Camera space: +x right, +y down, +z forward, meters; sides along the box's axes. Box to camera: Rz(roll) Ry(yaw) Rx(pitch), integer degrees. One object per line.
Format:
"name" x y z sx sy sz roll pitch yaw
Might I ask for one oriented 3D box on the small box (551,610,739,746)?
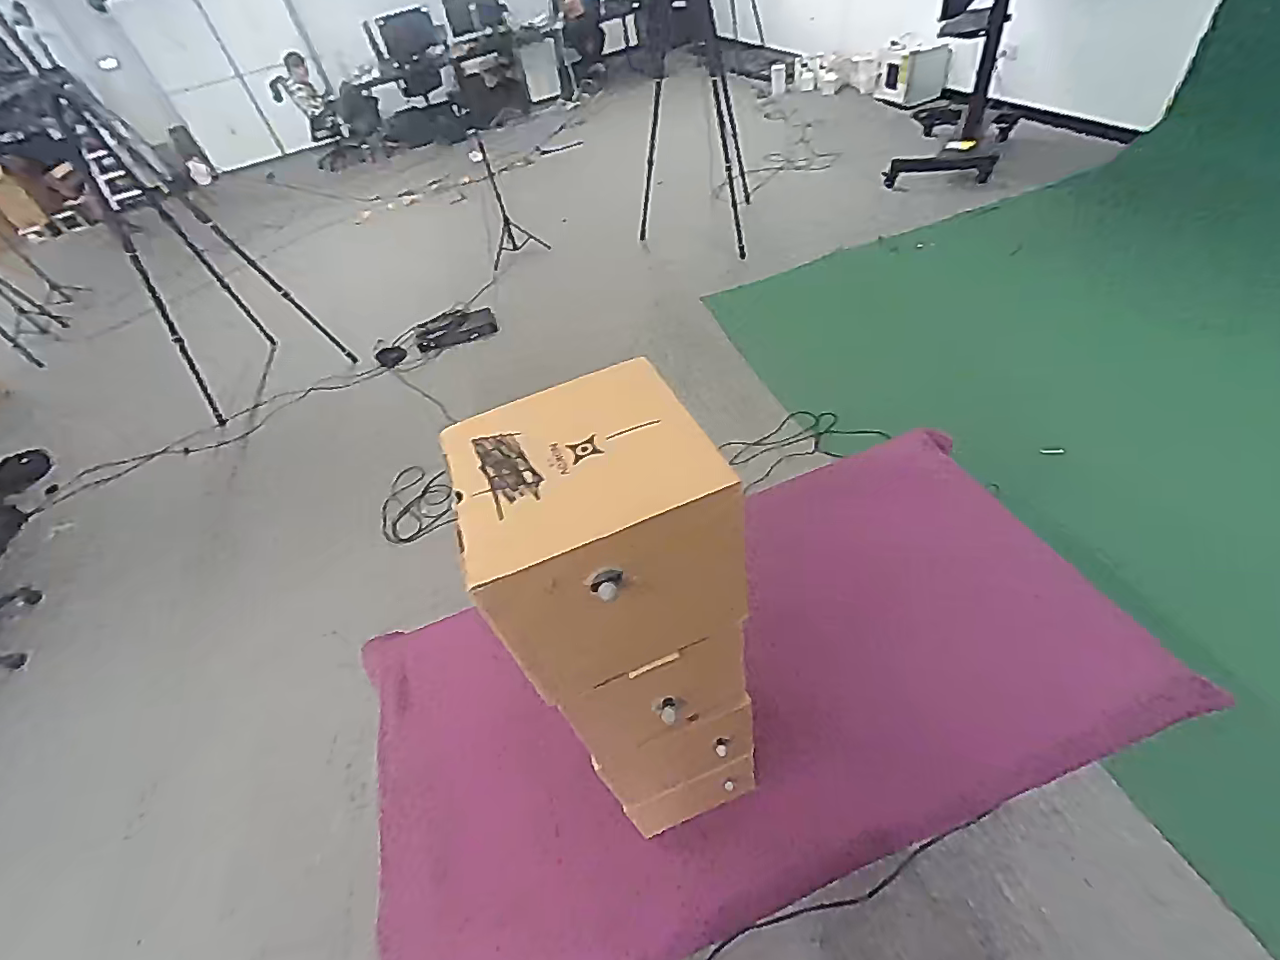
"small box" -0.008 0.145 0.552 0.168 0.176 0.179 -21 46 -8

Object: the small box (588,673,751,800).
"small box" 0.023 0.259 0.665 0.179 0.176 0.168 -21 46 -6

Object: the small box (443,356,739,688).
"small box" -0.034 0.035 0.432 0.179 0.176 0.168 -21 46 -8
